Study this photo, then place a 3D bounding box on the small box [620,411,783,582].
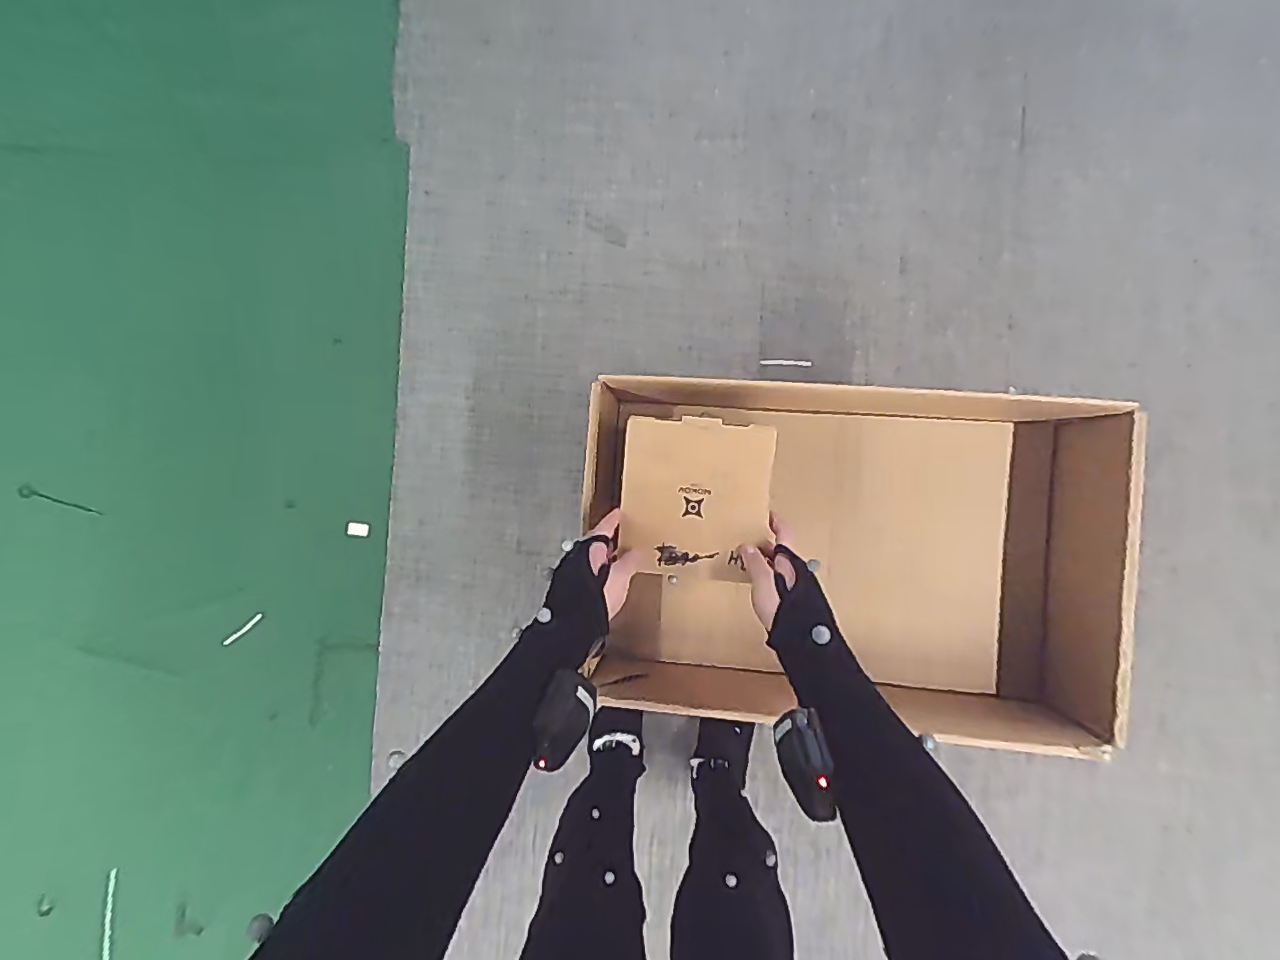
[{"bbox_3d":[0.076,0.017,0.676,0.168,0.176,0.179,6,92,8],"label":"small box"}]
